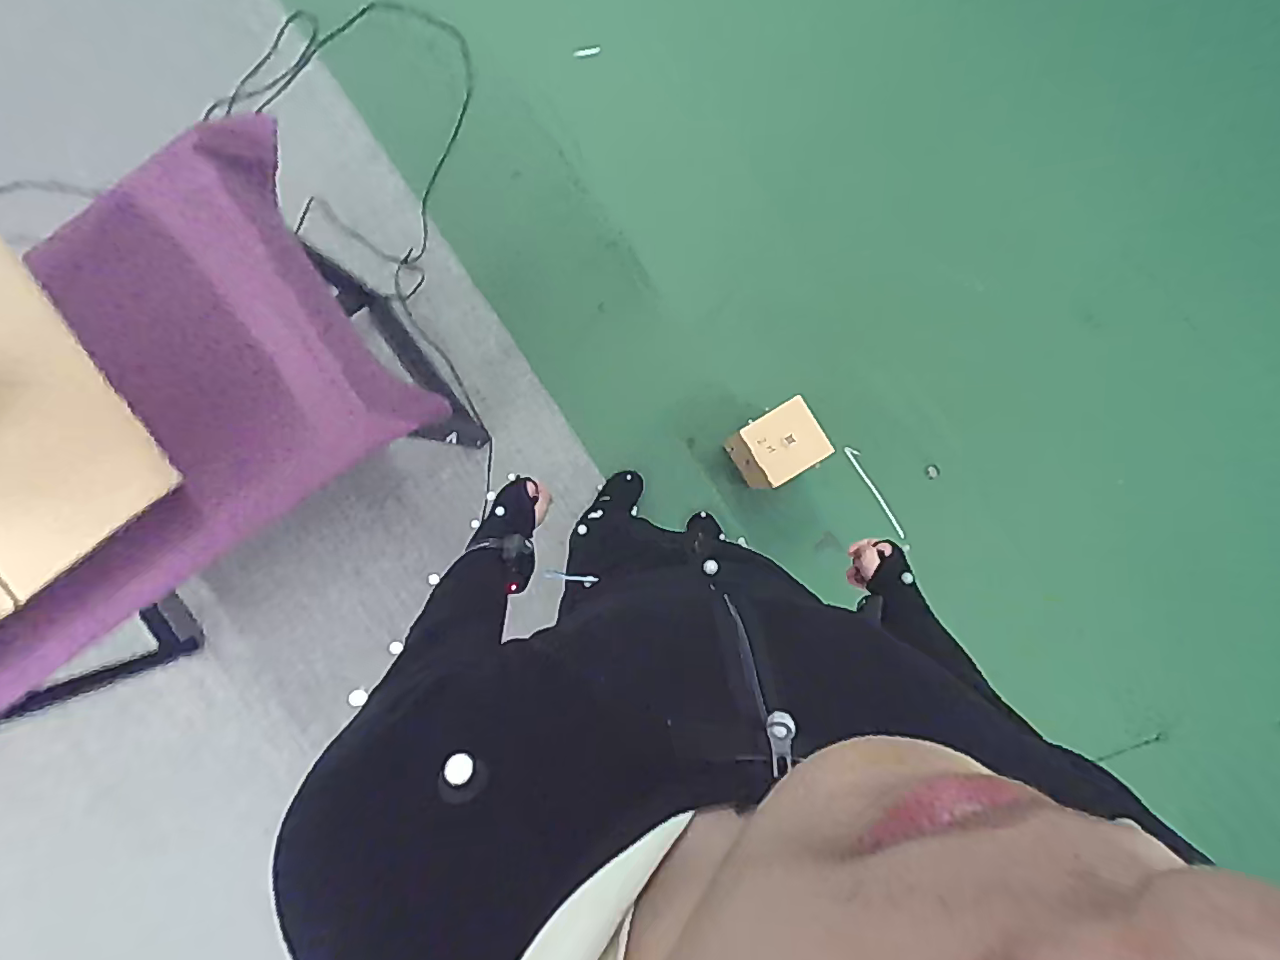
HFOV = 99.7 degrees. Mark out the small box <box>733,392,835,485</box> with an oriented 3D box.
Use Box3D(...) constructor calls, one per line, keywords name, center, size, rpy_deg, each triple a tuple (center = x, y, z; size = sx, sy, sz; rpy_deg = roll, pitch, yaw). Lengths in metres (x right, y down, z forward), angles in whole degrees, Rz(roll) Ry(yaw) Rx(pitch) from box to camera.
Box3D(name="small box", center=(0.356, -0.100, 1.375), size=(0.179, 0.176, 0.168), rpy_deg=(-31, 88, 1))
